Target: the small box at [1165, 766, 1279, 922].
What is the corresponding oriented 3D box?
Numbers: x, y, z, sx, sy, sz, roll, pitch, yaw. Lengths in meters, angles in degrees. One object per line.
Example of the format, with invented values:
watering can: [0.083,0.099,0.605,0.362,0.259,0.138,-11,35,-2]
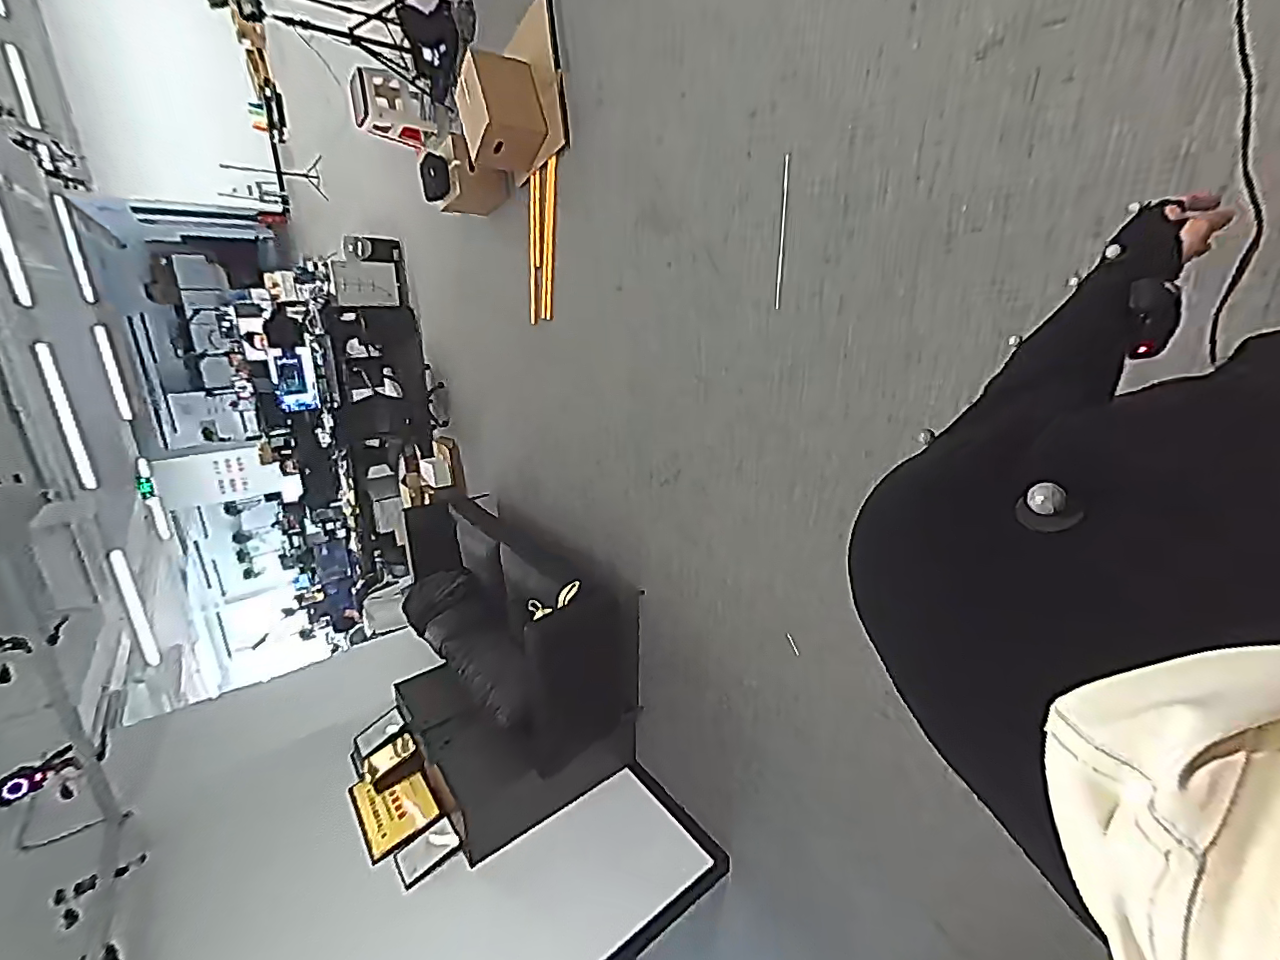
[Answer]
small box: [1.256,0.747,1.132,0.168,0.176,0.179,27,124,46]
